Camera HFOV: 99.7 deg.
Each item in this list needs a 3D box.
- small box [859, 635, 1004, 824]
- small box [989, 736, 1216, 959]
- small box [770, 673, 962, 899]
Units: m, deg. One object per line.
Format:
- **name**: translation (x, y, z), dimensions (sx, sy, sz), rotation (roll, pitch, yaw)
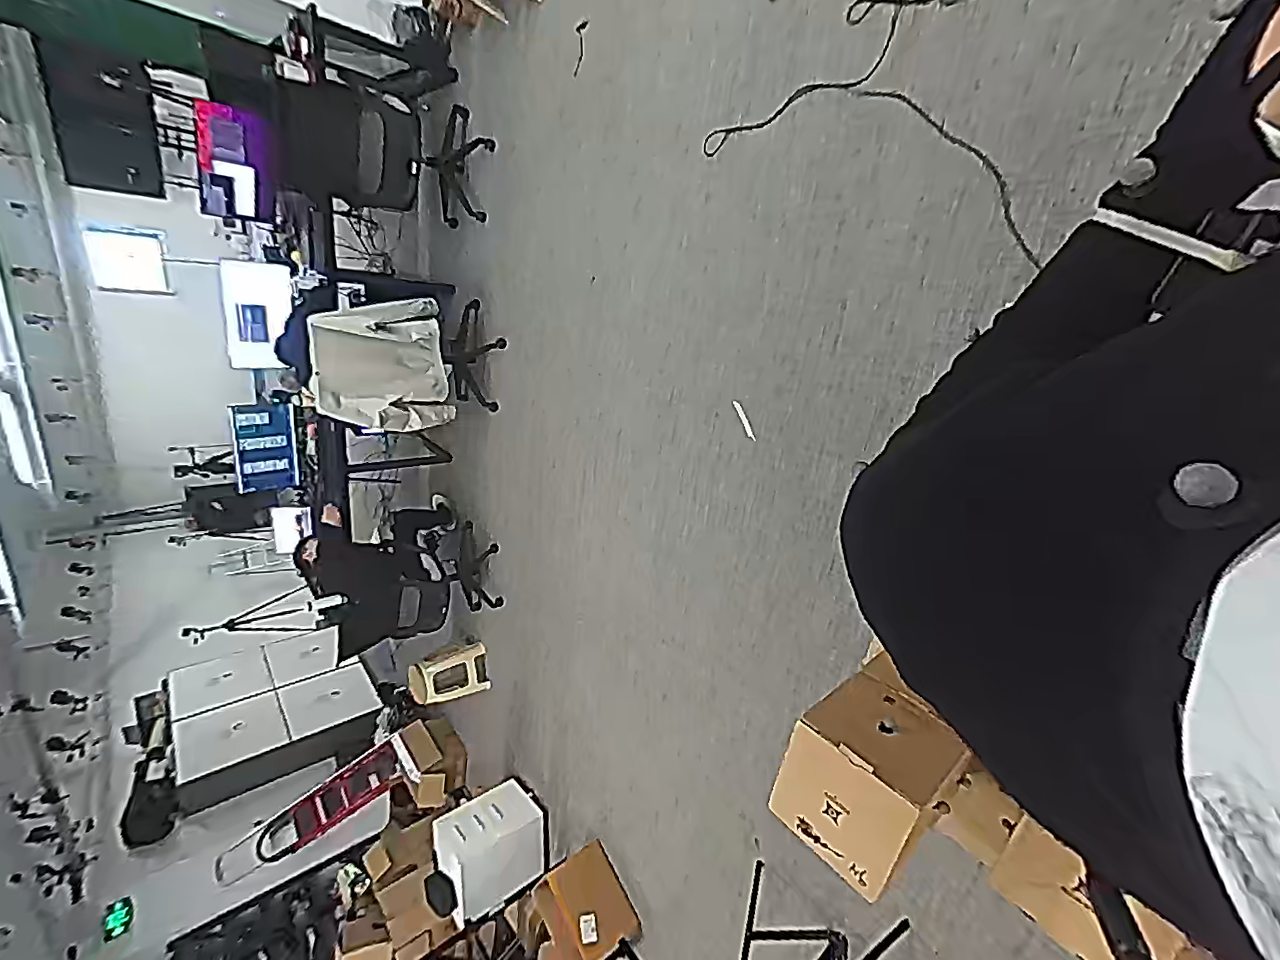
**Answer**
- **small box**: translation (0.437, 0.377, 0.849), dimensions (0.168, 0.176, 0.179), rotation (28, 117, 41)
- **small box**: translation (0.591, 0.475, 0.693), dimensions (0.168, 0.176, 0.179), rotation (28, 117, 42)
- **small box**: translation (0.312, 0.402, 0.744), dimensions (0.168, 0.176, 0.179), rotation (29, 118, 41)
